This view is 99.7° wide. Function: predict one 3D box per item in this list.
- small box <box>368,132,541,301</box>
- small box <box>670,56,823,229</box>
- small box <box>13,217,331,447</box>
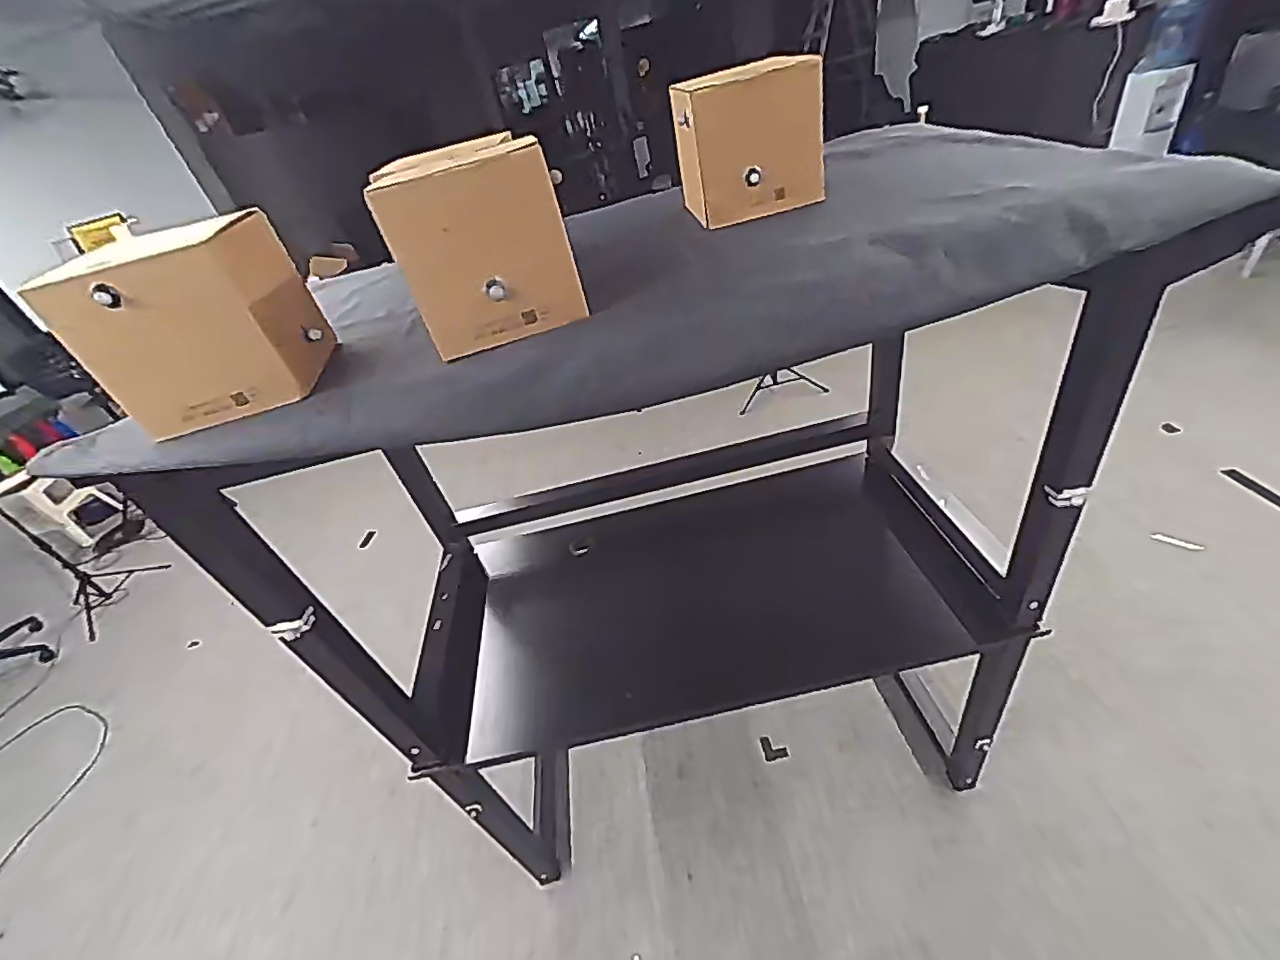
[{"bbox_3d":[-0.247,-0.370,0.772,0.168,0.176,0.179,-12,39,3],"label":"small box"},{"bbox_3d":[0.146,-0.474,0.764,0.168,0.176,0.179,-14,39,2],"label":"small box"},{"bbox_3d":[-0.469,-0.162,0.585,0.168,0.176,0.179,-18,38,-4],"label":"small box"}]
